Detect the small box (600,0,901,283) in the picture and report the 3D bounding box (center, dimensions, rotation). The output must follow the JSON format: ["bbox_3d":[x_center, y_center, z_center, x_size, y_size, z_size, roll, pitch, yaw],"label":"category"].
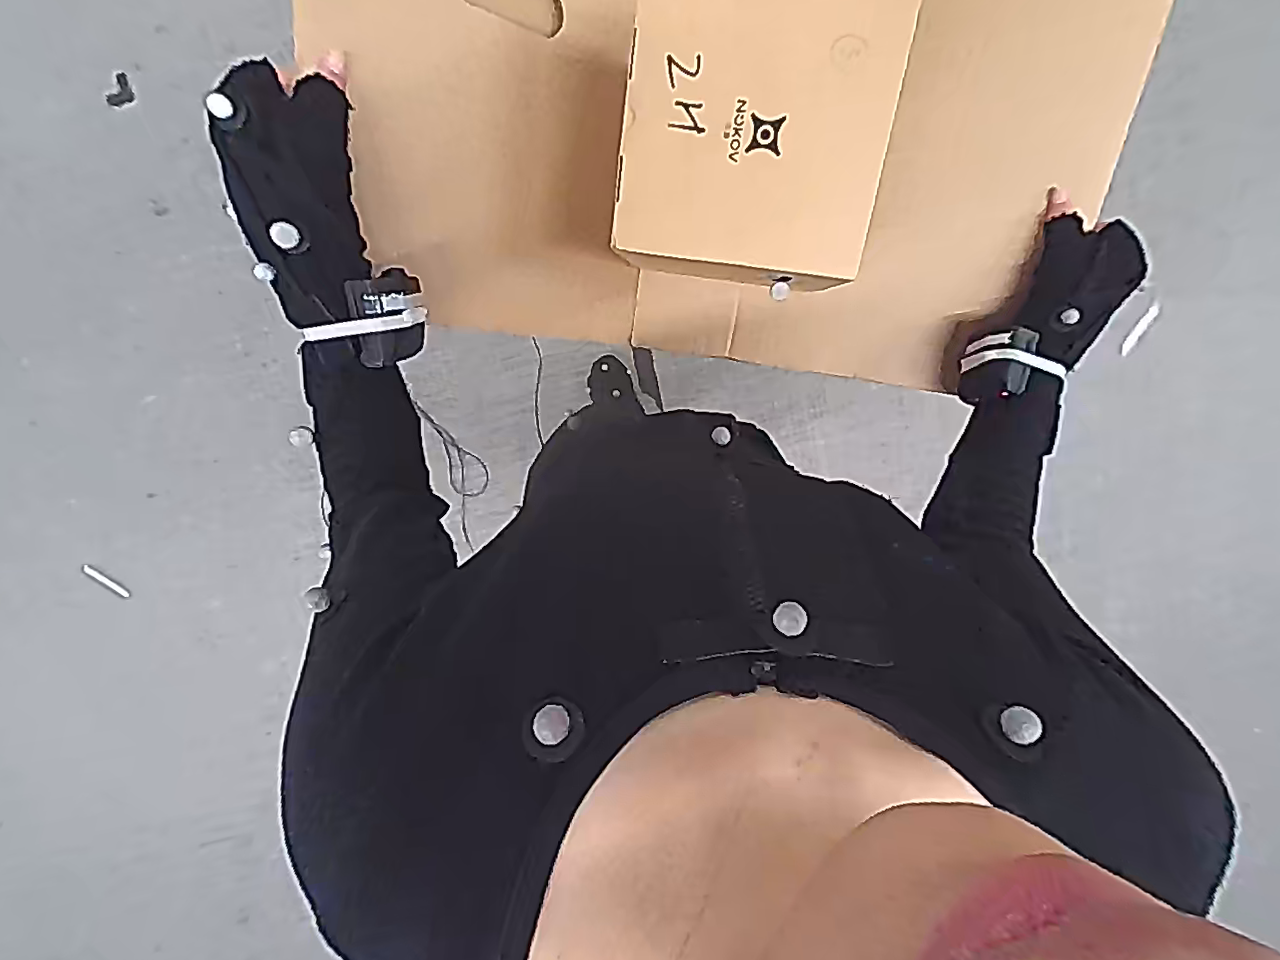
[{"bbox_3d":[0.076,-0.259,0.440,0.179,0.176,0.168,10,107,5],"label":"small box"}]
